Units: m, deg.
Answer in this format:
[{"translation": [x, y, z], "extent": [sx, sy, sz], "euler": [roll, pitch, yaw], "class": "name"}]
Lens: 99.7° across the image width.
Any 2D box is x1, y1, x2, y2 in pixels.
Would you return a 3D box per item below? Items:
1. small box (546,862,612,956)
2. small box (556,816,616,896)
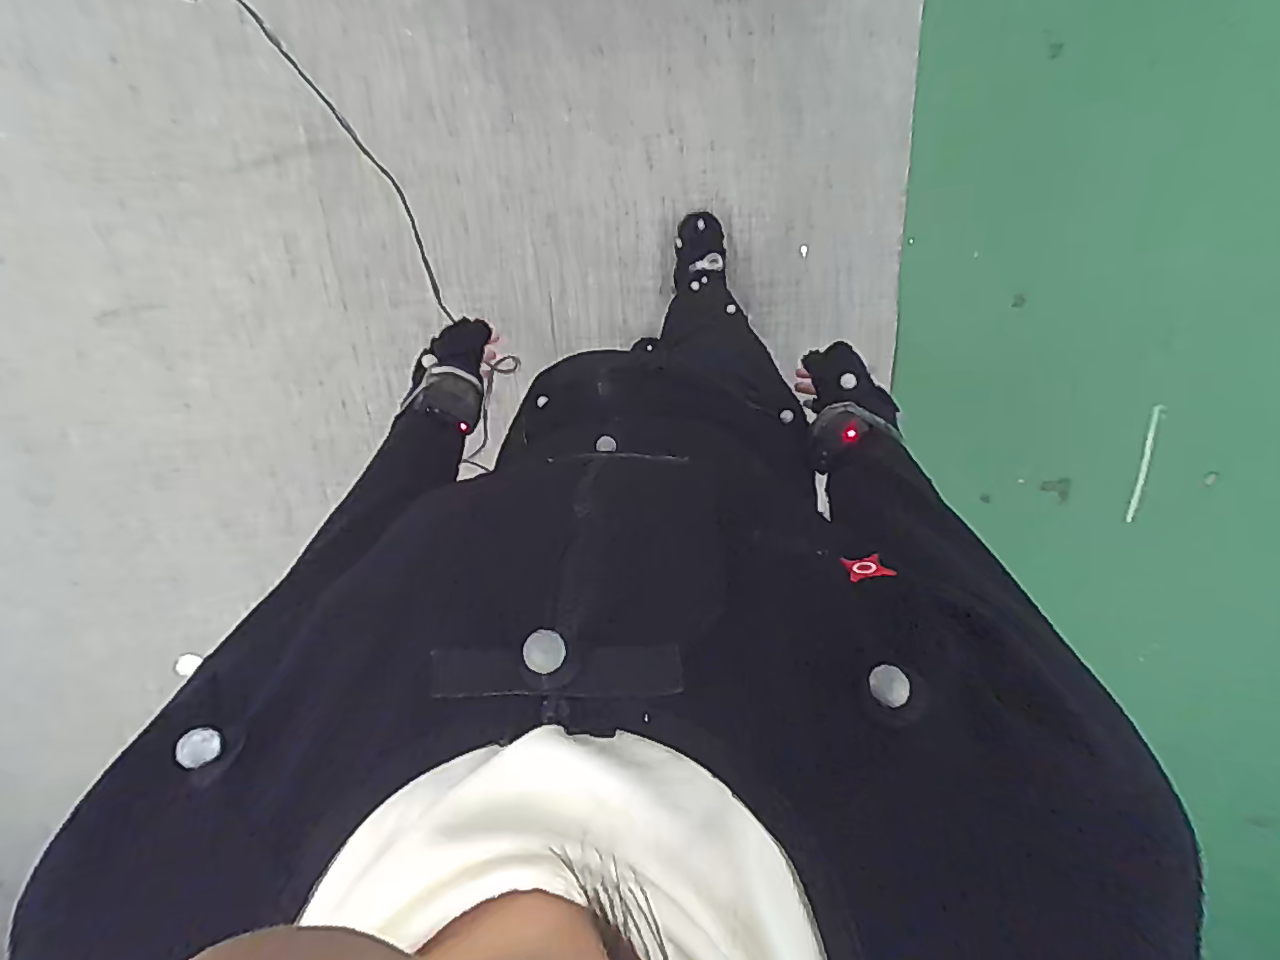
[{"translation": [-0.182, 1.313, 1.664], "extent": [0.179, 0.176, 0.168], "euler": [1, 110, 2], "class": "small box"}, {"translation": [-0.177, 1.265, 1.821], "extent": [0.179, 0.176, 0.168], "euler": [-4, 110, 2], "class": "small box"}]
